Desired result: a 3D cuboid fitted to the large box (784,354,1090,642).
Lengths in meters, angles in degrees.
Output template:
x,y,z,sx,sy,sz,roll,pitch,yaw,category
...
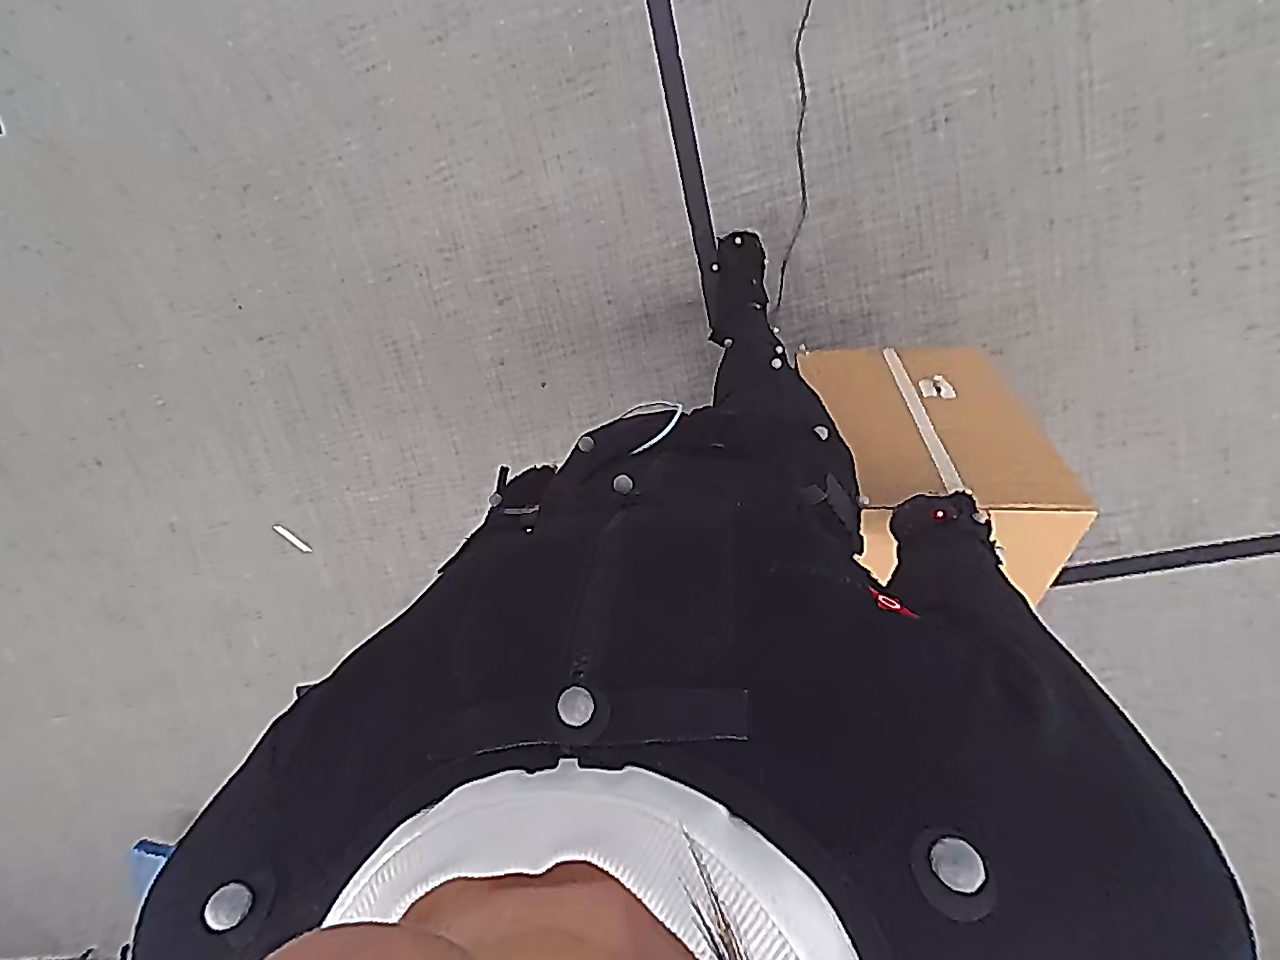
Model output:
x,y,z,sx,sy,sz,roll,pitch,yaw,category
0.433,0.020,0.922,0.320,0.408,0.320,1,130,7,large box
